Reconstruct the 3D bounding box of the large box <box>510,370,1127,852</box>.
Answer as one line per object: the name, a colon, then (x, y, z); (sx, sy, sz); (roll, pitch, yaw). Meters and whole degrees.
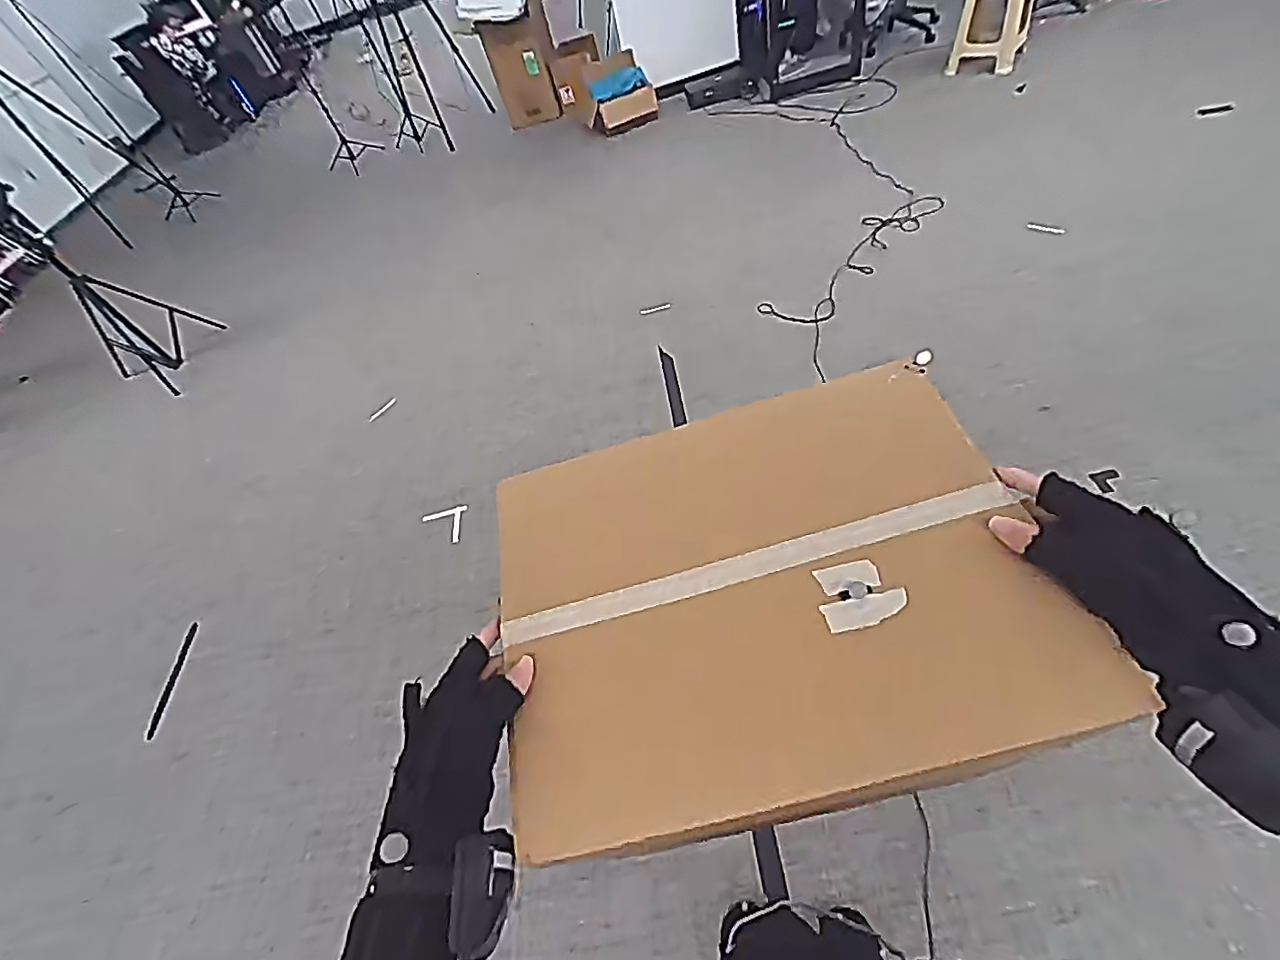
large box: (0.121, 0.153, 0.556); (0.408, 0.320, 0.320); (-17, 55, 4)
